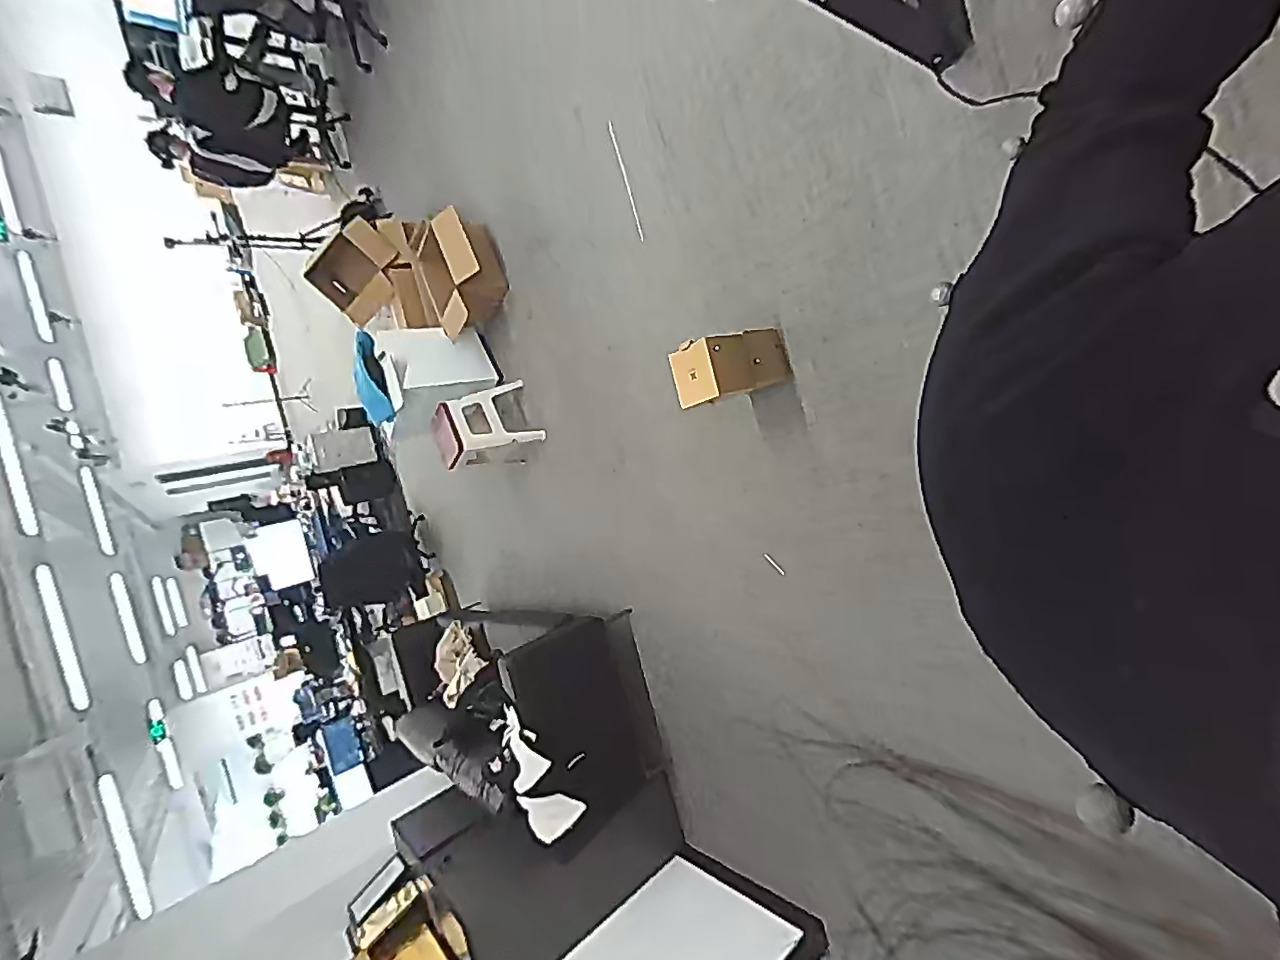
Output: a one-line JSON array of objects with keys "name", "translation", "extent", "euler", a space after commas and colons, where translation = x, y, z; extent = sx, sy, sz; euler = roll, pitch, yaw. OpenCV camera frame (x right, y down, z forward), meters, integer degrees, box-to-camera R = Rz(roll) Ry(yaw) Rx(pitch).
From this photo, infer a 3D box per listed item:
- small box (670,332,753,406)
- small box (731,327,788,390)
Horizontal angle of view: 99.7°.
[{"name": "small box", "translation": [0.222, -0.339, 1.647], "extent": [0.168, 0.176, 0.179], "euler": [-14, 91, 52]}, {"name": "small box", "translation": [0.344, -0.386, 1.746], "extent": [0.179, 0.176, 0.168], "euler": [-14, 92, 53]}]
